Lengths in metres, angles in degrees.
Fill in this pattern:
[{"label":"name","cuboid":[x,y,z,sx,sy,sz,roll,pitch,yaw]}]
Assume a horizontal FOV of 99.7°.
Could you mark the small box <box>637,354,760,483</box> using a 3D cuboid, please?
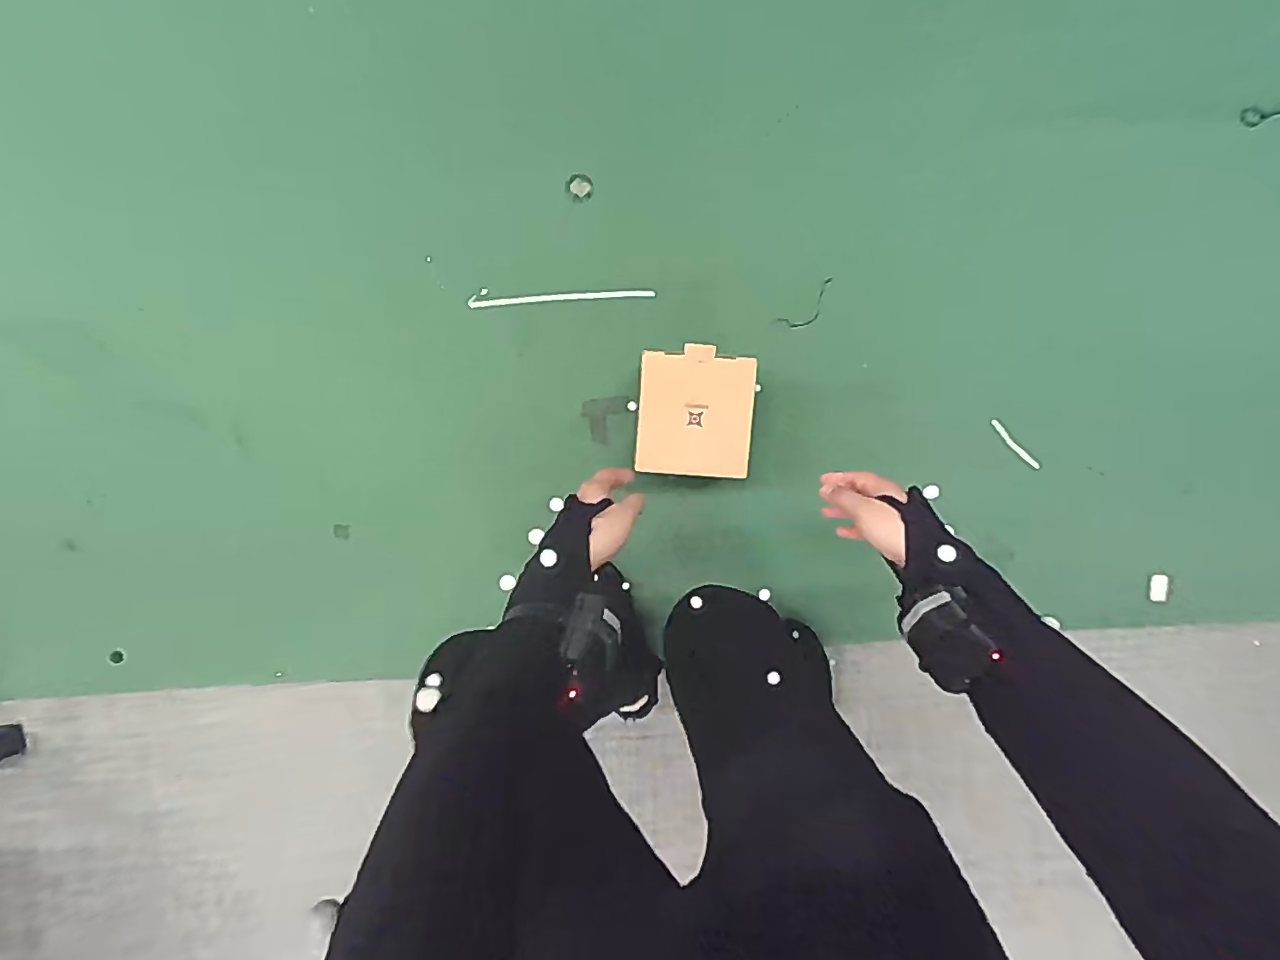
[{"label":"small box","cuboid":[0.085,-0.096,0.855,0.168,0.176,0.179,4,95,-1]}]
